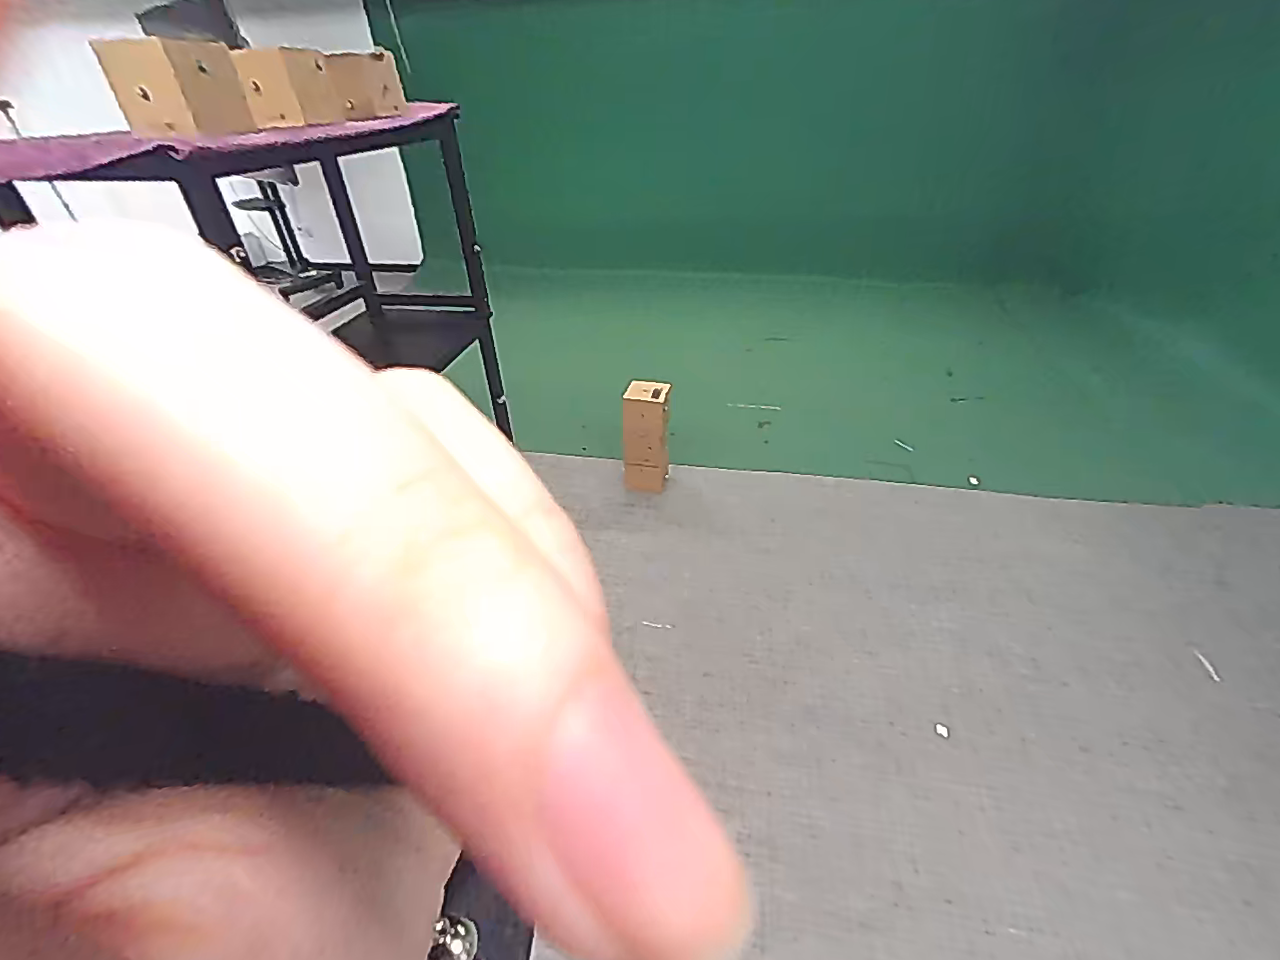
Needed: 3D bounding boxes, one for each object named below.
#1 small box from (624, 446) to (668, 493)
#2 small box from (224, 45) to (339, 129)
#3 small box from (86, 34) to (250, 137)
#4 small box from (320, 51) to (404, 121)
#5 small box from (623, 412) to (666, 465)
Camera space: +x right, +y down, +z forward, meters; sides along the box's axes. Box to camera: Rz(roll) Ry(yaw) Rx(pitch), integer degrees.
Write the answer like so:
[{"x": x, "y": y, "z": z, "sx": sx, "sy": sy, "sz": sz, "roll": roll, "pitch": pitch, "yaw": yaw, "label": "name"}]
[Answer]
[{"x": 0.030, "y": -0.057, "z": 2.523, "sx": 0.179, "sy": 0.176, "sz": 0.168, "roll": 8, "pitch": 38, "yaw": 11, "label": "small box"}, {"x": -0.953, "y": -1.051, "z": 1.453, "sx": 0.168, "sy": 0.176, "sz": 0.179, "roll": 3, "pitch": 36, "yaw": 9, "label": "small box"}, {"x": -0.993, "y": -0.840, "z": 1.160, "sx": 0.168, "sy": 0.176, "sz": 0.179, "roll": 5, "pitch": 36, "yaw": 7, "label": "small box"}, {"x": -0.896, "y": -1.266, "z": 1.739, "sx": 0.179, "sy": 0.176, "sz": 0.168, "roll": 8, "pitch": 39, "yaw": 15, "label": "small box"}, {"x": 0.024, "y": -0.183, "z": 2.421, "sx": 0.168, "sy": 0.176, "sz": 0.179, "roll": 7, "pitch": 37, "yaw": 10, "label": "small box"}]
